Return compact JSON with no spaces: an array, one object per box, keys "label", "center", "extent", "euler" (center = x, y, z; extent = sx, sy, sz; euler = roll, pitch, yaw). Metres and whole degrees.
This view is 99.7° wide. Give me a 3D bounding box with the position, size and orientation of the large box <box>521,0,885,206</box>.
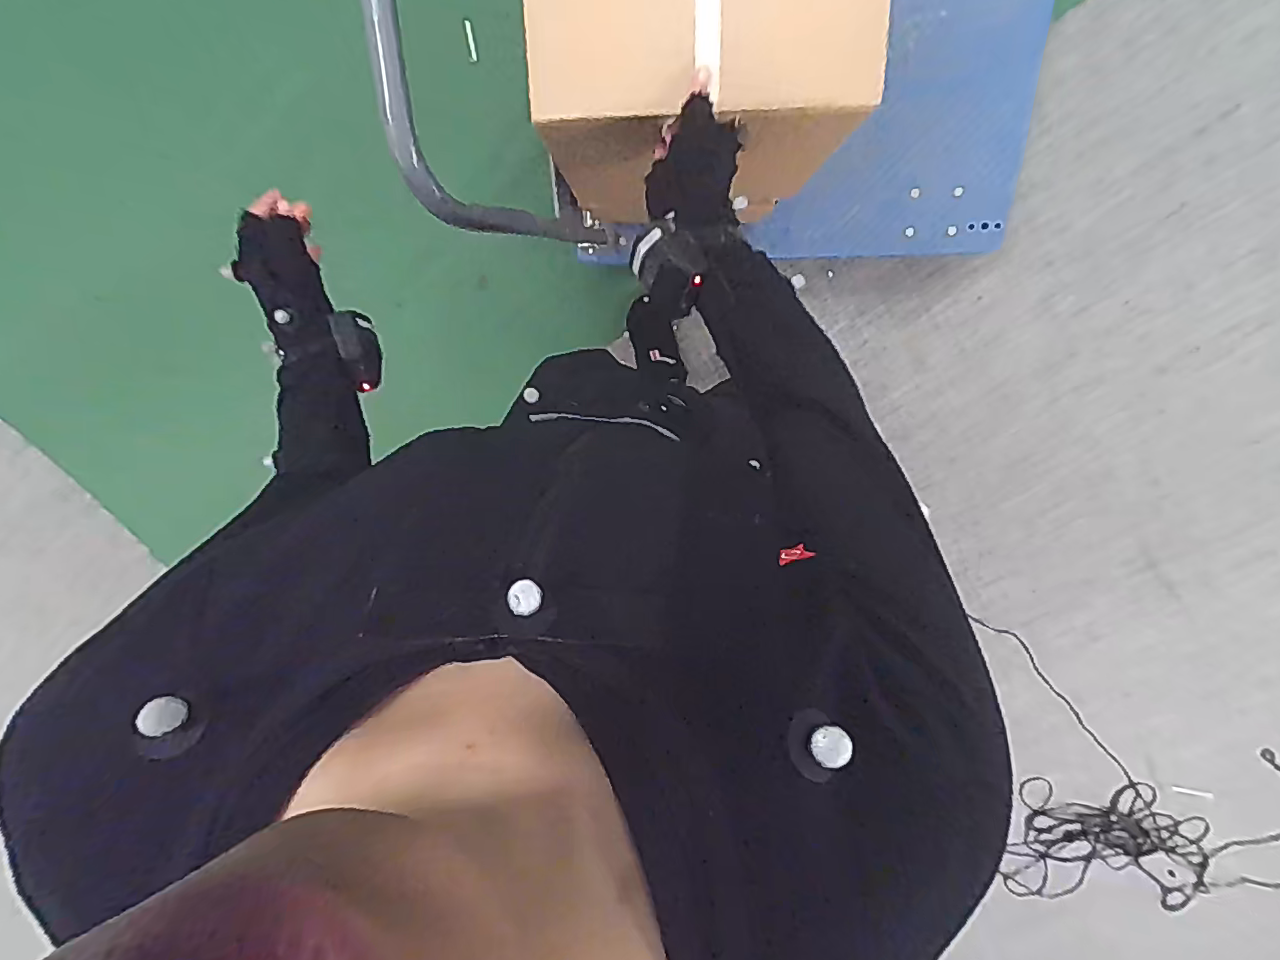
[{"label":"large box","center":[0.055,-0.554,0.577],"extent":[0.320,0.320,0.408],"euler":[-1,103,2]}]
